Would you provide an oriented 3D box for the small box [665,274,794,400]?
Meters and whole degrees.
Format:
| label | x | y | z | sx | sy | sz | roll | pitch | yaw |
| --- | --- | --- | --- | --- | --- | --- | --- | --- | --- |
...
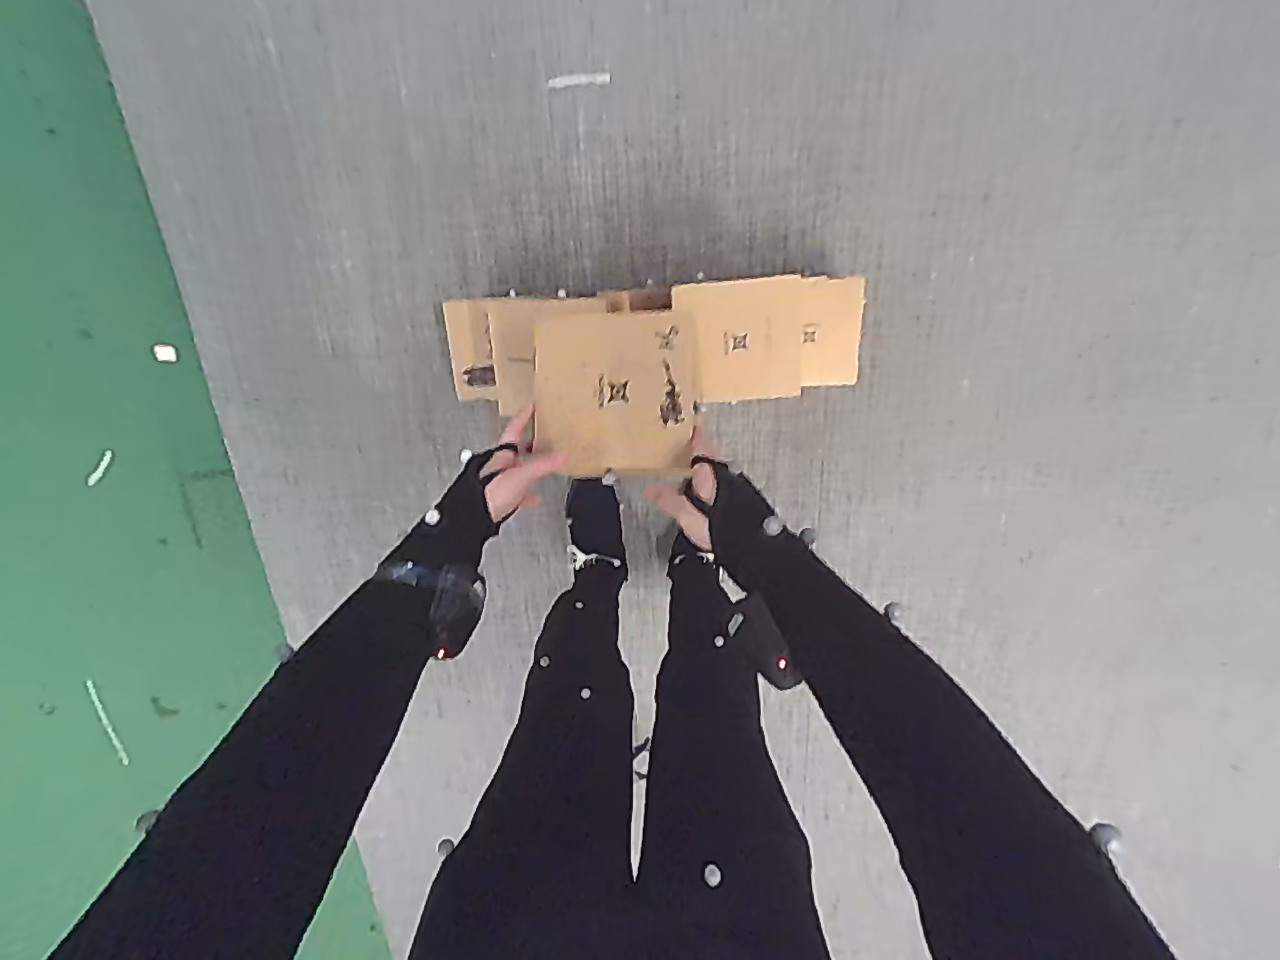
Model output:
| label | x | y | z | sx | sy | sz | roll | pitch | yaw |
| --- | --- | --- | --- | --- | --- | --- | --- | --- | --- |
| small box | 0.131 | -0.221 | 0.832 | 0.179 | 0.176 | 0.168 | -4 | 109 | 4 |

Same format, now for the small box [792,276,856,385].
| label | x | y | z | sx | sy | sz | roll | pitch | yaw |
| --- | --- | --- | --- | --- | --- | --- | --- | --- | --- |
| small box | 0.277 | -0.272 | 0.977 | 0.168 | 0.176 | 0.179 | -1 | 109 | 5 |

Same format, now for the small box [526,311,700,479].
| label | x | y | z | sx | sy | sz | roll | pitch | yaw |
| --- | --- | --- | --- | --- | --- | --- | --- | --- | --- |
| small box | -0.022 | -0.089 | 0.649 | 0.179 | 0.176 | 0.168 | 0 | 86 | 10 |

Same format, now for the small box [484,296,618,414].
| label | x | y | z | sx | sy | sz | roll | pitch | yaw |
| --- | --- | --- | --- | --- | --- | --- | --- | --- | --- |
| small box | -0.127 | -0.203 | 0.857 | 0.179 | 0.176 | 0.168 | 0 | 109 | 5 |
